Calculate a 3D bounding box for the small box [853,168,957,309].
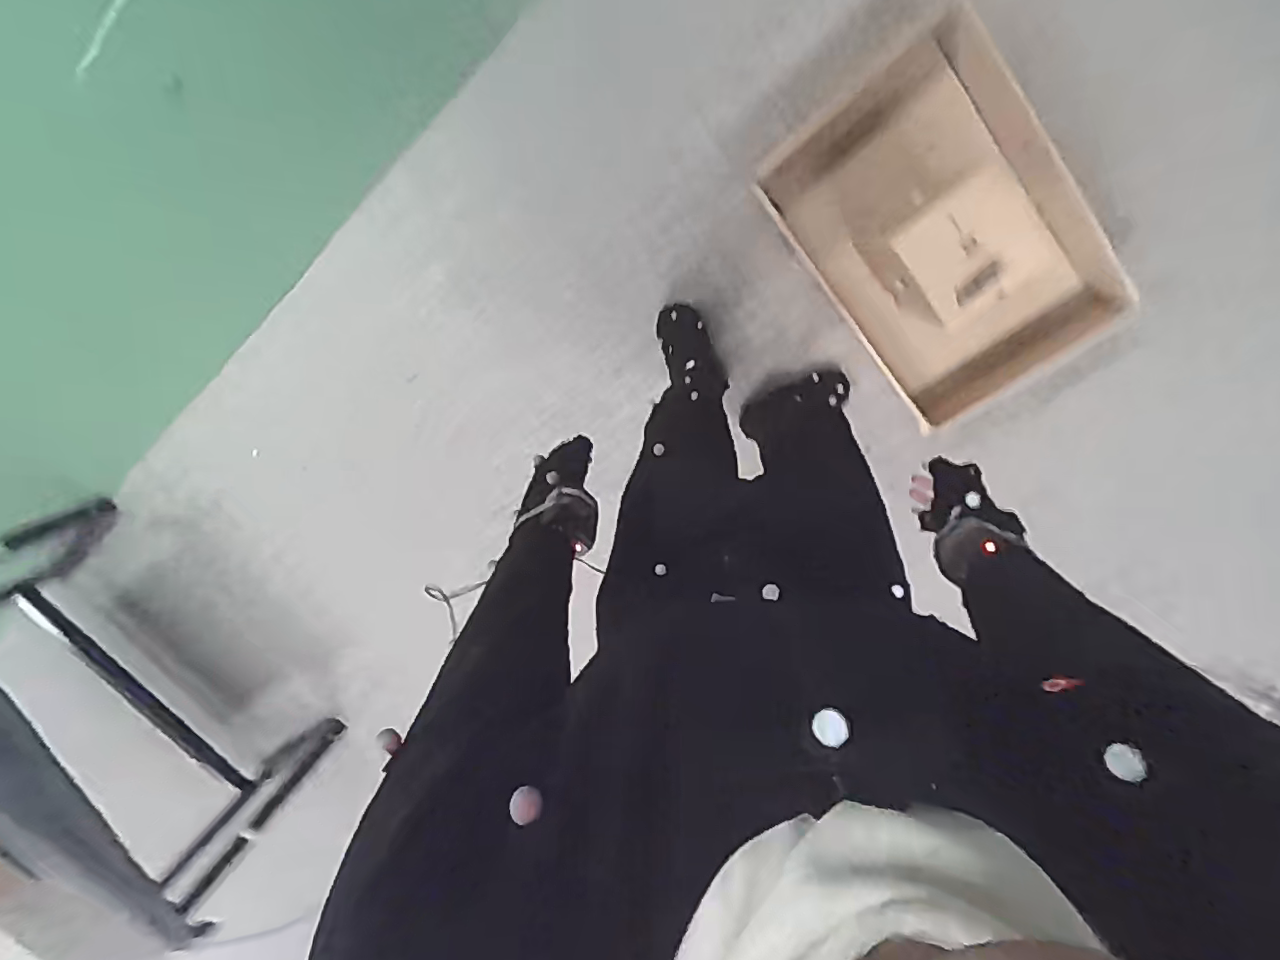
[{"bbox_3d":[0.529,-0.452,1.030,0.179,0.176,0.168,-36,103,21],"label":"small box"}]
